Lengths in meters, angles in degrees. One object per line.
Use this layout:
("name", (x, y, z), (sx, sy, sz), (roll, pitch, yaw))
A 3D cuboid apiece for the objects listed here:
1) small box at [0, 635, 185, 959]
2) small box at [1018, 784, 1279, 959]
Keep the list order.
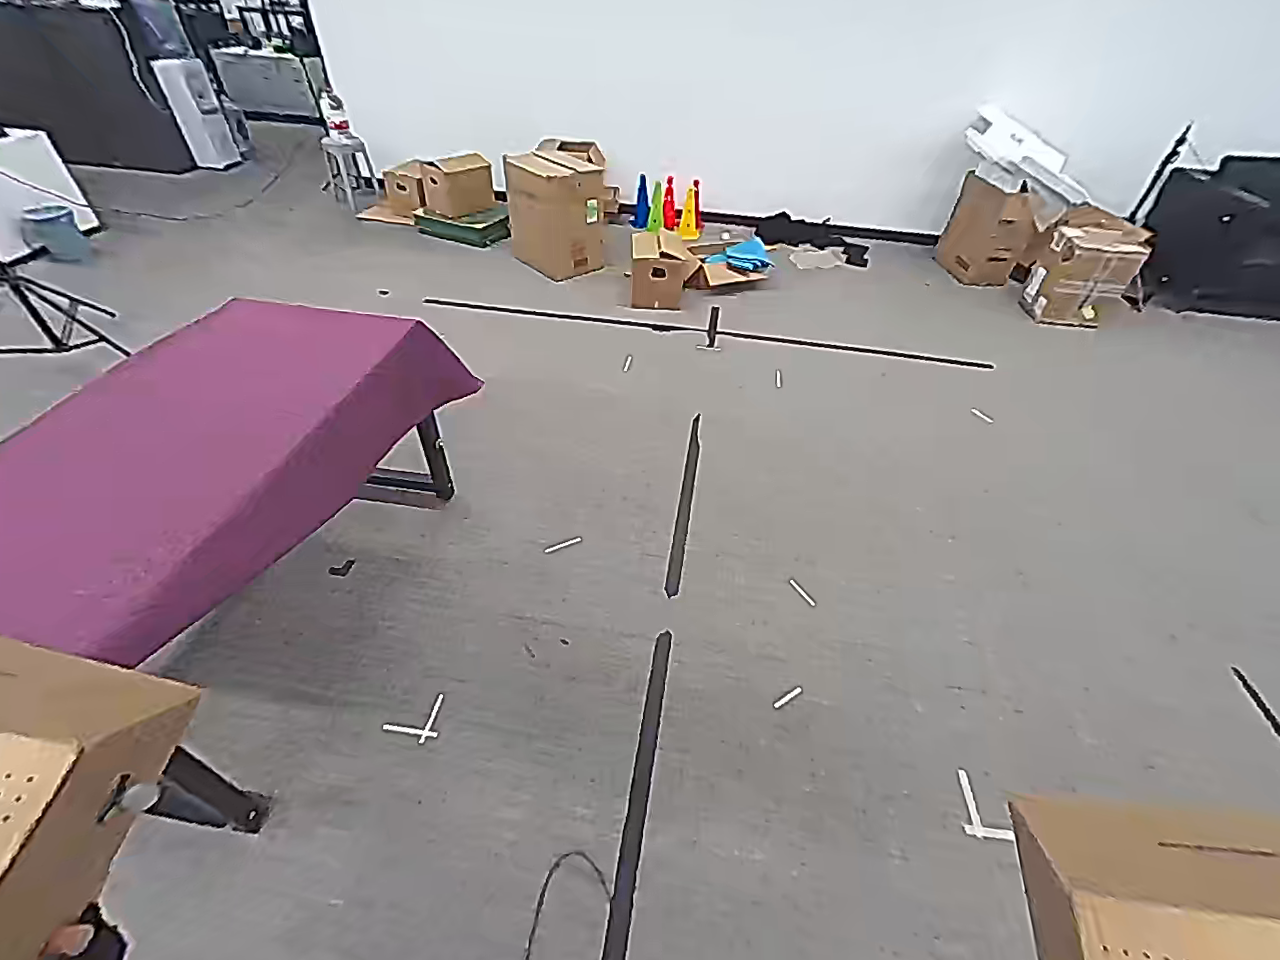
("small box", (-0.338, 0.149, 0.215), (0.168, 0.179, 0.176), (25, 66, -19))
("small box", (0.290, 0.248, 0.239), (0.168, 0.179, 0.176), (-9, 72, 25))
